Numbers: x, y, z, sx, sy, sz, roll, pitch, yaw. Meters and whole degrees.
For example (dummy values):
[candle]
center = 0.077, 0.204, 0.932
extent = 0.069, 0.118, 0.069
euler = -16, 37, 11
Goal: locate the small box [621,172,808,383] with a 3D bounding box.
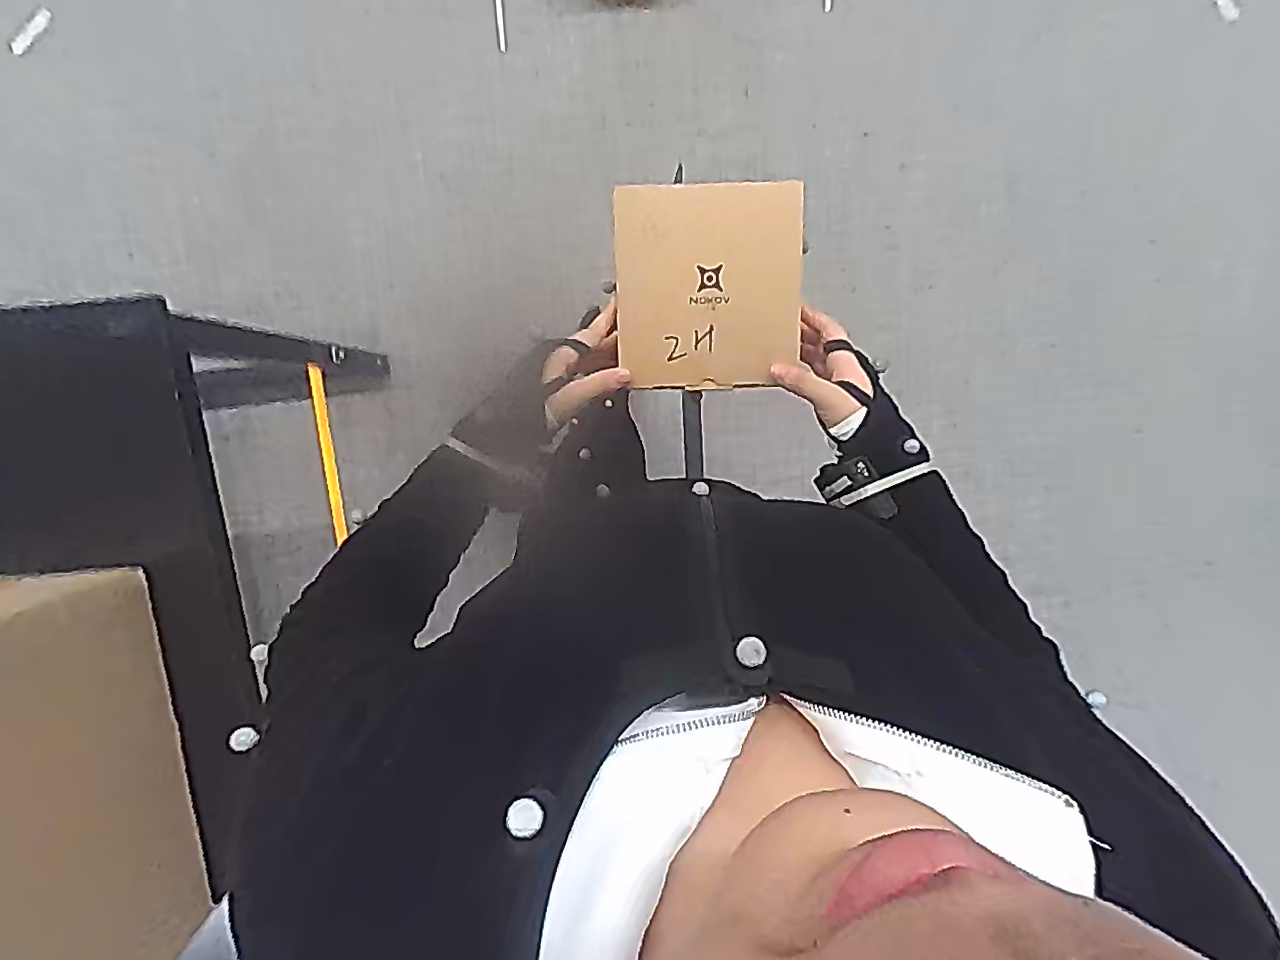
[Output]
[small box]
center = 0.065, -0.191, 0.555
extent = 0.168, 0.176, 0.179
euler = -1, 101, 1
